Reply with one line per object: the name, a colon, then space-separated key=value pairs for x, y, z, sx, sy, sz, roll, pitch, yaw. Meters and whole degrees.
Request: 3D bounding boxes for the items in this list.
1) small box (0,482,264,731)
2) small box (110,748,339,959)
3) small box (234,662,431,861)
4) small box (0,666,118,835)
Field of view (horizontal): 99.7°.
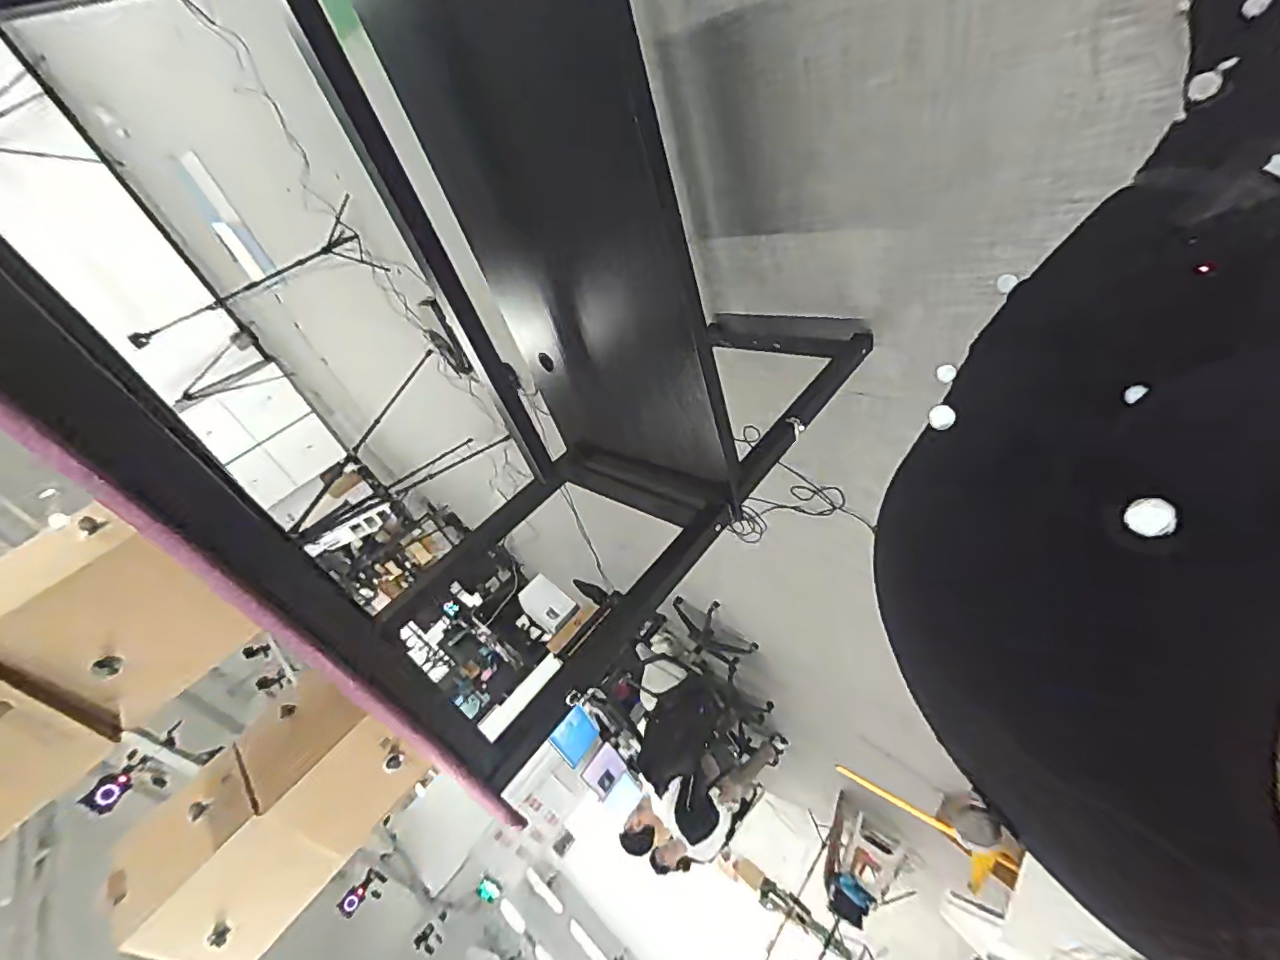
small box: x=-0.573 y=0.133 z=0.611 sx=0.168 sy=0.176 sz=0.179 roll=21 pitch=144 yaw=41
small box: x=-0.548 y=0.507 z=0.728 sx=0.168 sy=0.176 sz=0.179 roll=15 pitch=141 yaw=44
small box: x=-0.444 y=0.400 z=0.798 sx=0.179 sy=0.176 sz=0.168 roll=15 pitch=141 yaw=43
small box: x=-0.671 y=0.242 z=0.534 sx=0.179 sy=0.176 sz=0.168 roll=17 pitch=141 yaw=45
